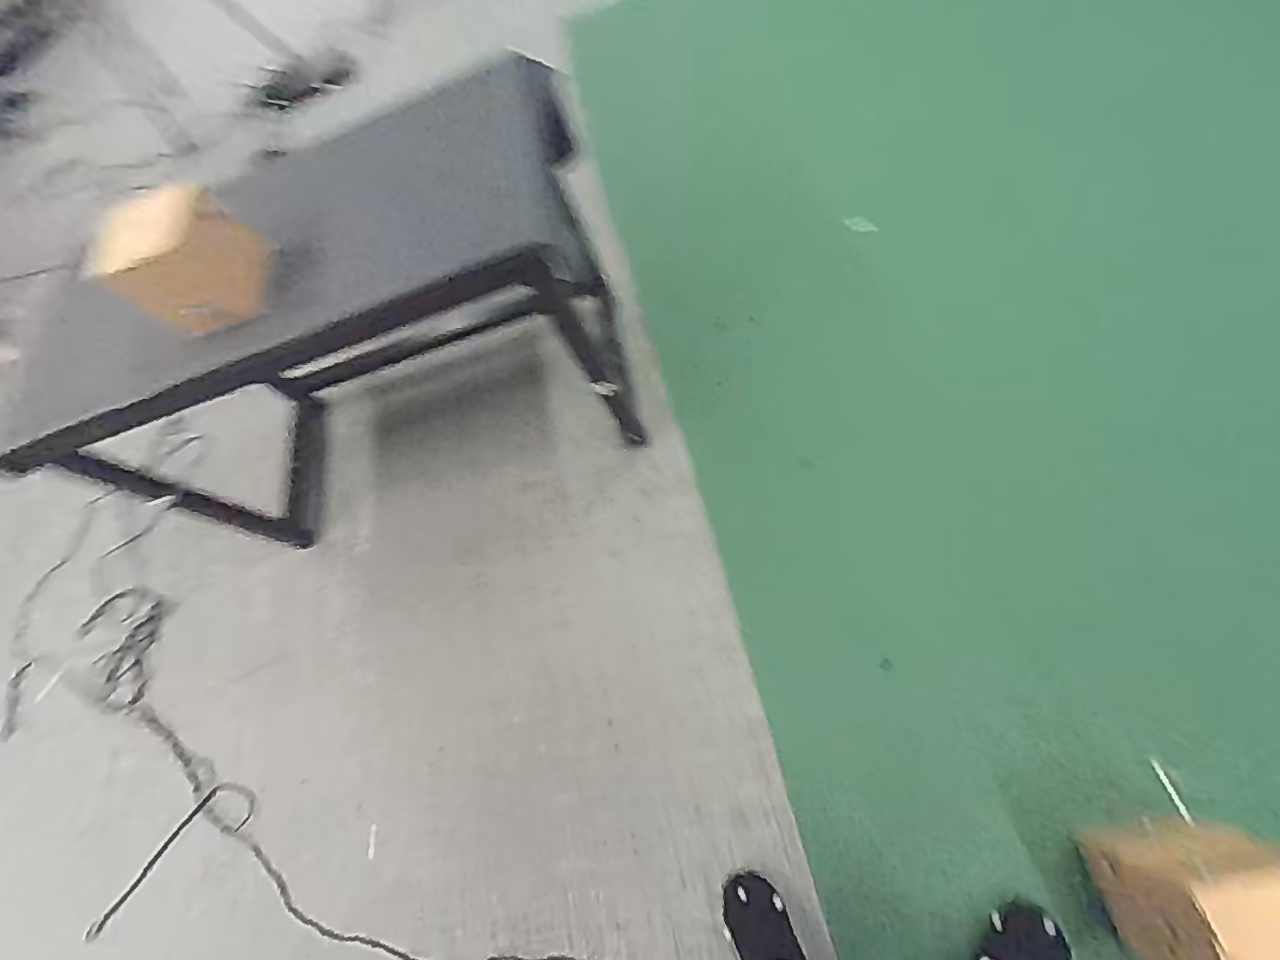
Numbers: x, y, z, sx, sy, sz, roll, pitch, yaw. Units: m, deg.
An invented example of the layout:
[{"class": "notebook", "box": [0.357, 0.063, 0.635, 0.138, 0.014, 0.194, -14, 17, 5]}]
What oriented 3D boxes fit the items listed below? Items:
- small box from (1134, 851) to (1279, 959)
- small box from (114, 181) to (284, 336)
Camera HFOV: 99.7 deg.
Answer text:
[{"class": "small box", "box": [0.813, 0.602, 0.696, 0.179, 0.176, 0.168, -17, 63, 9]}, {"class": "small box", "box": [-0.804, -0.404, 1.007, 0.168, 0.176, 0.179, -17, 62, 10]}]
